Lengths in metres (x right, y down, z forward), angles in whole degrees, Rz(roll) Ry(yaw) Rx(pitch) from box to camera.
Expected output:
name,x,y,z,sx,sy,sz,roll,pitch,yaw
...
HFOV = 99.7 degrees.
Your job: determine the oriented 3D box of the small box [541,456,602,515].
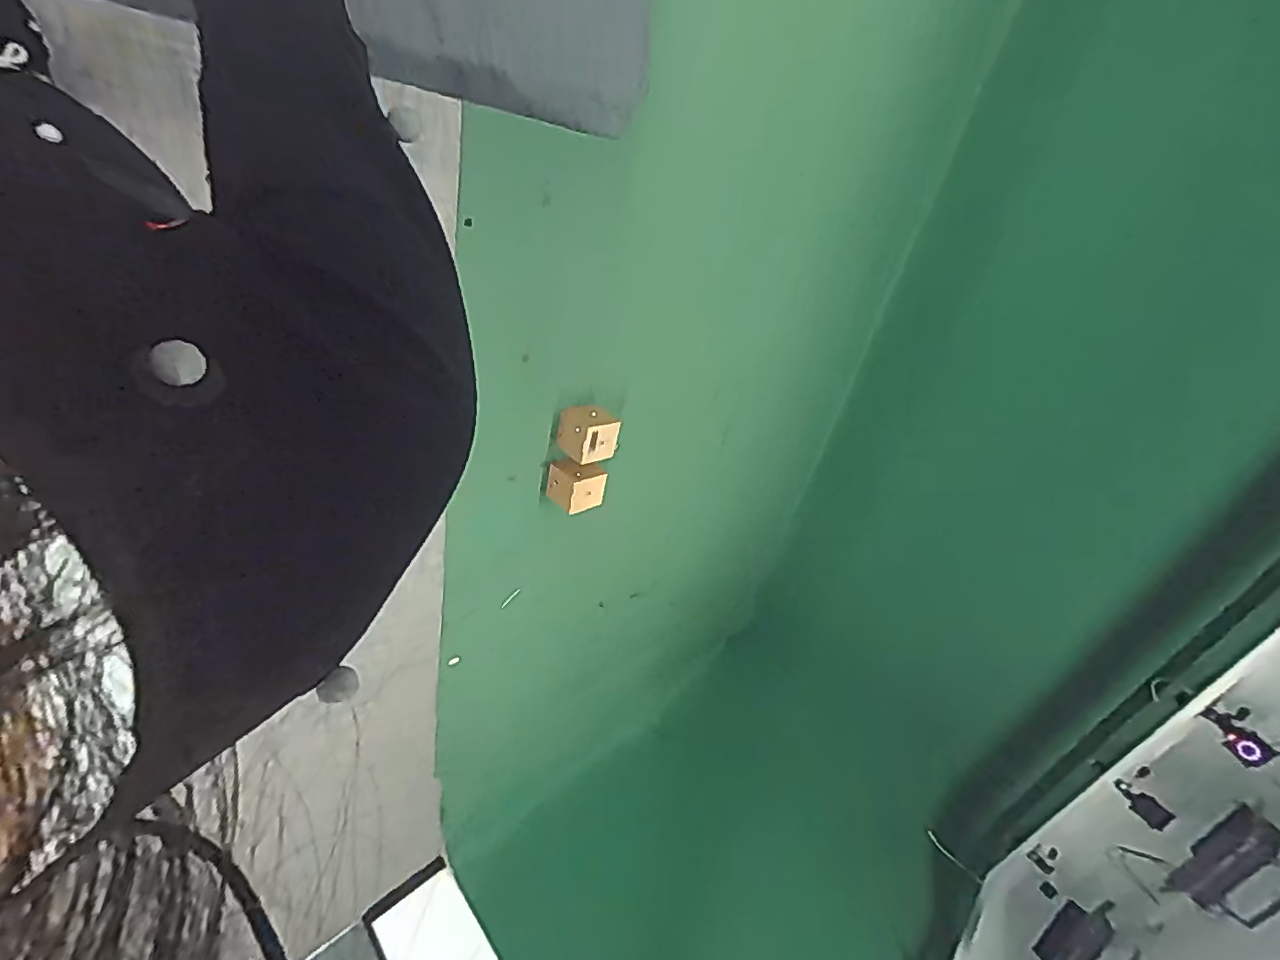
name,x,y,z,sx,sy,sz,roll,pitch,yaw
small box,-0.294,0.018,2.292,0.179,0.176,0.168,-18,134,-42
